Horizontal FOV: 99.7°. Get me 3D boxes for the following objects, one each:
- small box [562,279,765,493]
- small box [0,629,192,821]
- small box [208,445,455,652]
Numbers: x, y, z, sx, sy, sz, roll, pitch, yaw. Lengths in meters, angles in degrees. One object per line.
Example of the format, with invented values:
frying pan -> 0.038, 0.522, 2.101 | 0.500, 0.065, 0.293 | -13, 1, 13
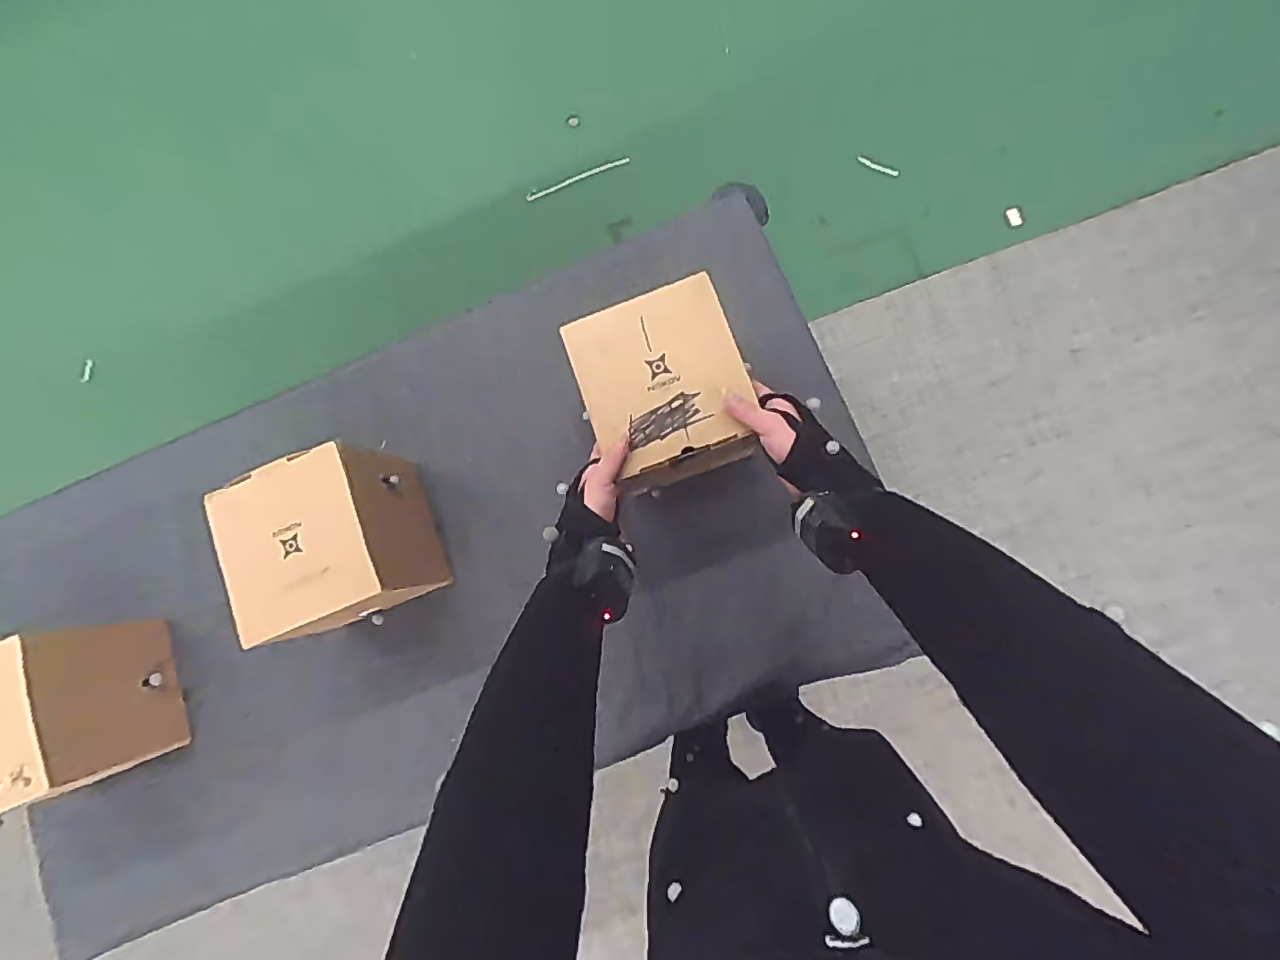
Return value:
small box -> 0.031, -0.091, 0.623 | 0.168, 0.176, 0.179 | -20, 81, 3
small box -> -0.702, 0.291, 0.655 | 0.168, 0.176, 0.179 | -23, 80, 3
small box -> -0.353, 0.080, 0.647 | 0.168, 0.176, 0.179 | -23, 82, 4
